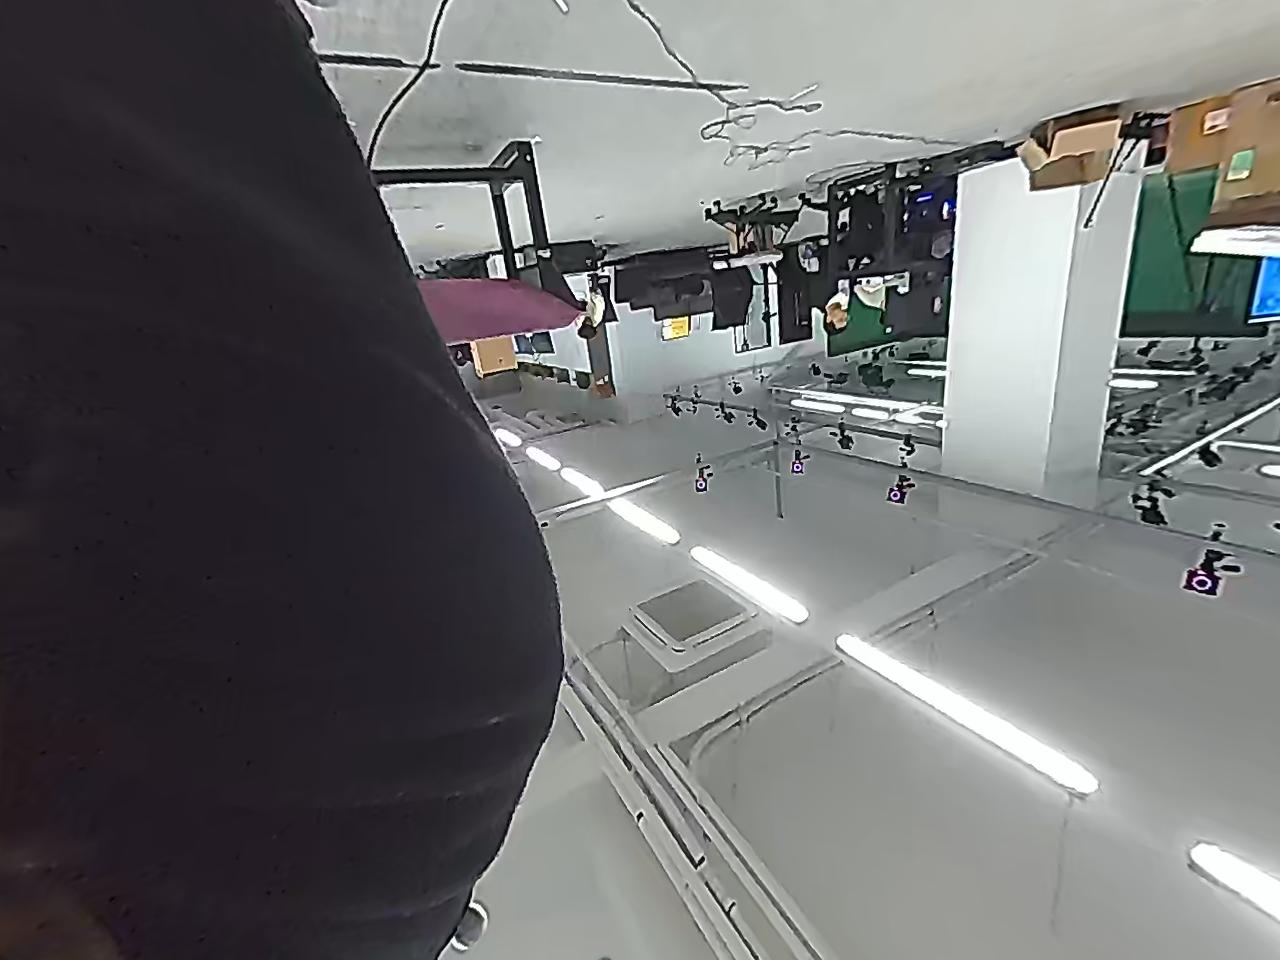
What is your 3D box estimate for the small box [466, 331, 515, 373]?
[{"bbox_3d":[-0.724,-0.621,2.608,0.179,0.176,0.168,-16,-160,-23],"label":"small box"}]
